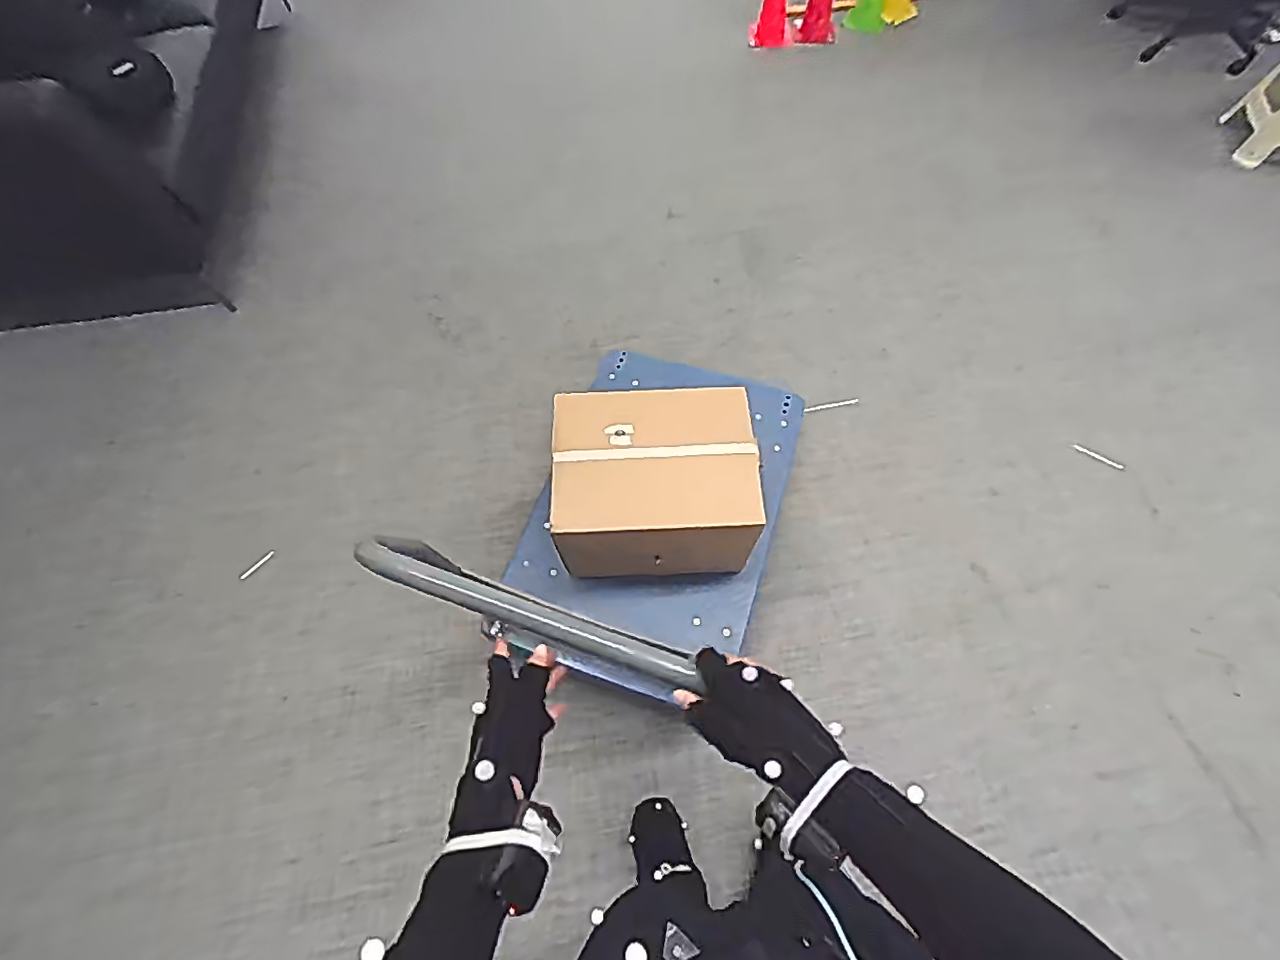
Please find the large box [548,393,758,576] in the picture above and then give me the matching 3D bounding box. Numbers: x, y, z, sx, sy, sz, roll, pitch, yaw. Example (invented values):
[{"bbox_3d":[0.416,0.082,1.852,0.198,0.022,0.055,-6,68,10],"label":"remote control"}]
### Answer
[{"bbox_3d":[0.025,0.025,1.214,0.408,0.320,0.320,-2,65,1],"label":"large box"}]
